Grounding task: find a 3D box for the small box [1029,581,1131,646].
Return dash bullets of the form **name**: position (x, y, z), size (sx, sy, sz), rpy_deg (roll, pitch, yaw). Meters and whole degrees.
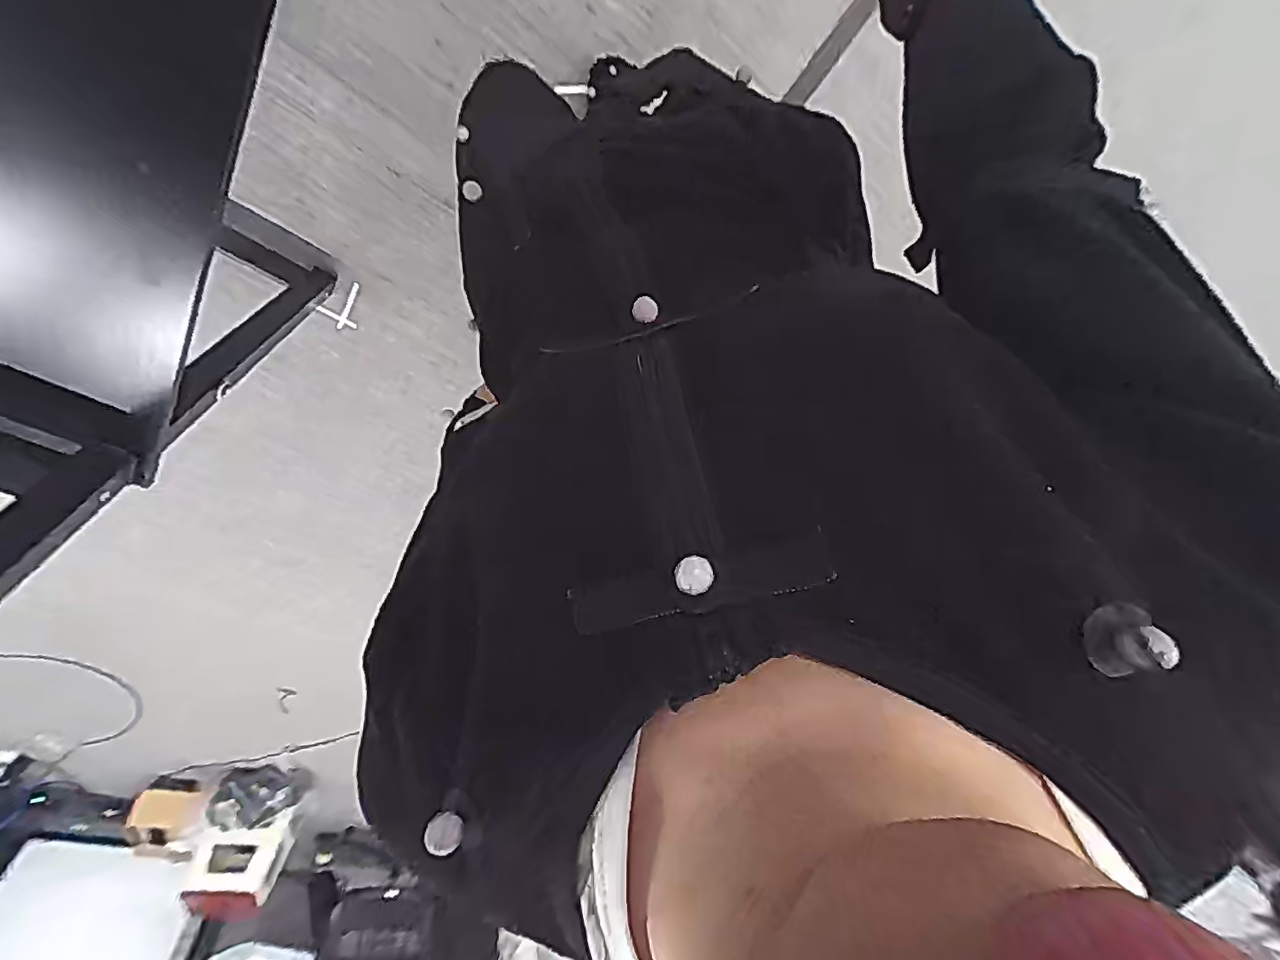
- **small box**: position (1.422, 0.459, 1.757), size (0.168, 0.176, 0.179), rpy_deg (35, 117, -27)
